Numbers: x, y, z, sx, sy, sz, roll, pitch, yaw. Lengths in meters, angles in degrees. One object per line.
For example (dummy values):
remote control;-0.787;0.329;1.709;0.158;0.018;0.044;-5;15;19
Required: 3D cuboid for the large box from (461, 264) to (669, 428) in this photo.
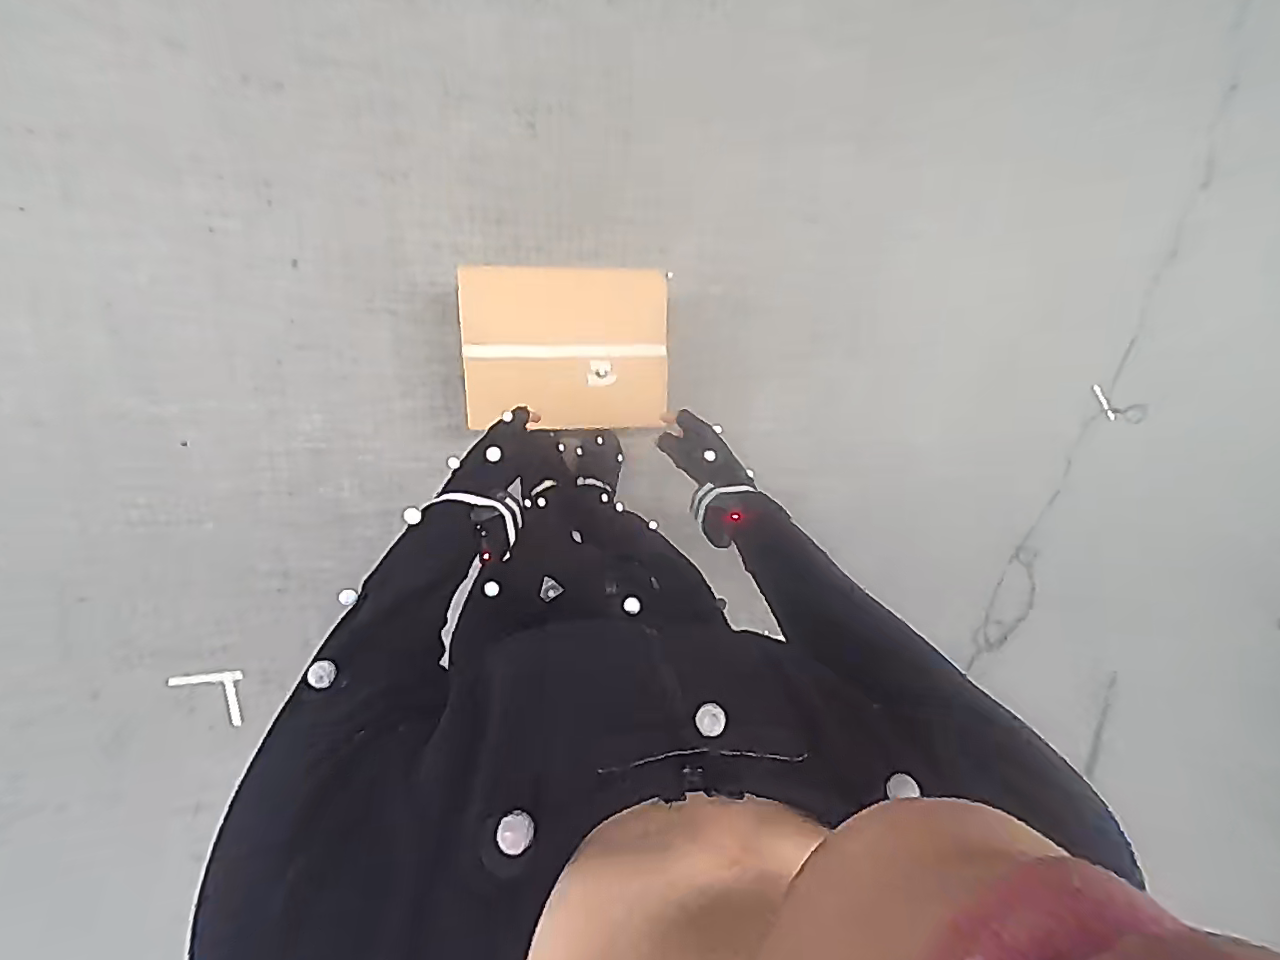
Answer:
large box;-0.164;-0.297;1.222;0.408;0.320;0.320;-3;103;-9
